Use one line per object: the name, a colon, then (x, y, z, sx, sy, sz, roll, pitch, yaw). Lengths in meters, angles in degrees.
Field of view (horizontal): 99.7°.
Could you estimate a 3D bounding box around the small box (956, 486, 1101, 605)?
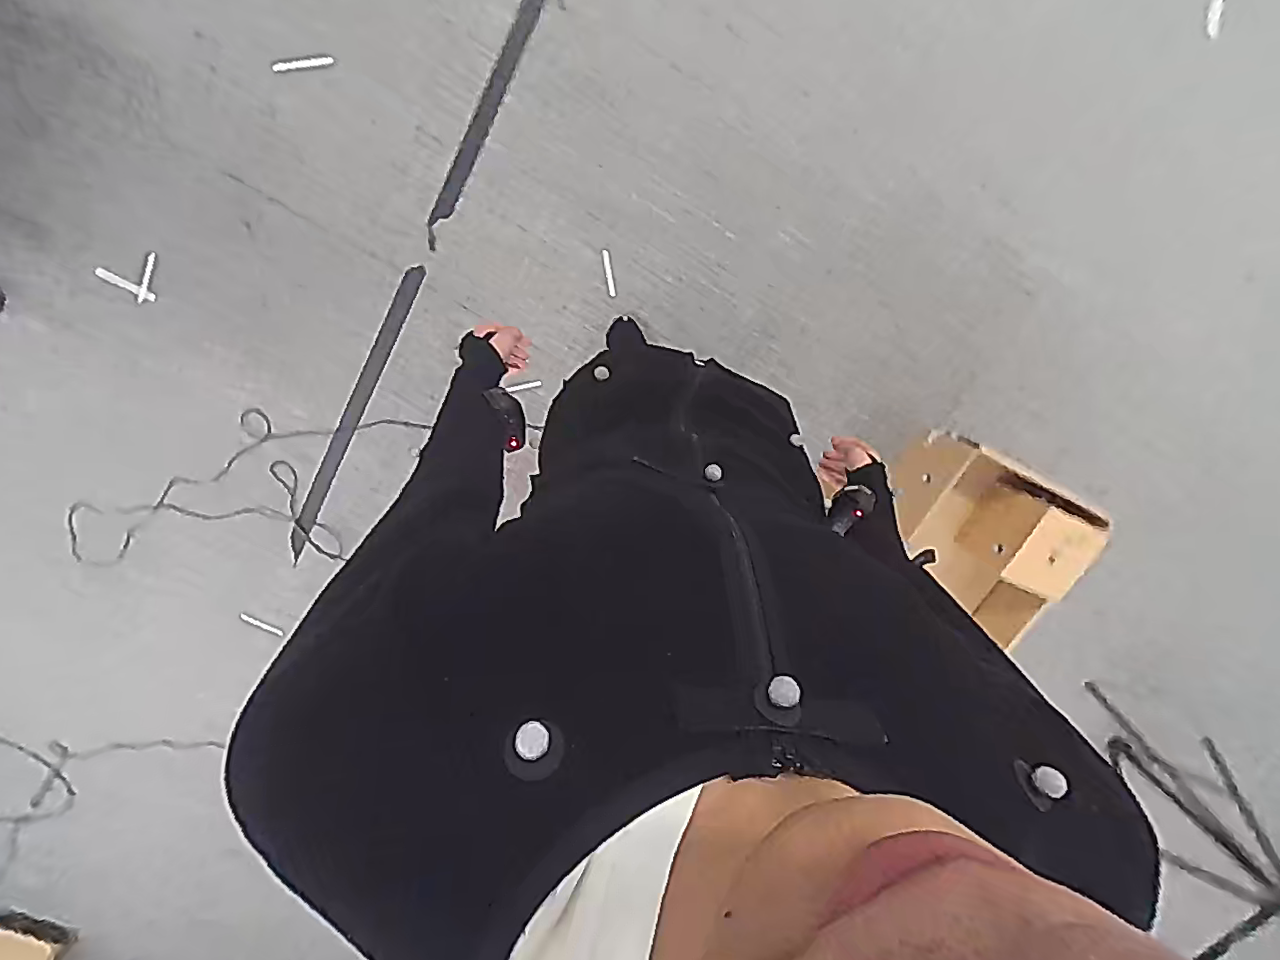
small box: (0.853, 0.141, 1.215, 0.168, 0.176, 0.179, 23, 107, -11)
